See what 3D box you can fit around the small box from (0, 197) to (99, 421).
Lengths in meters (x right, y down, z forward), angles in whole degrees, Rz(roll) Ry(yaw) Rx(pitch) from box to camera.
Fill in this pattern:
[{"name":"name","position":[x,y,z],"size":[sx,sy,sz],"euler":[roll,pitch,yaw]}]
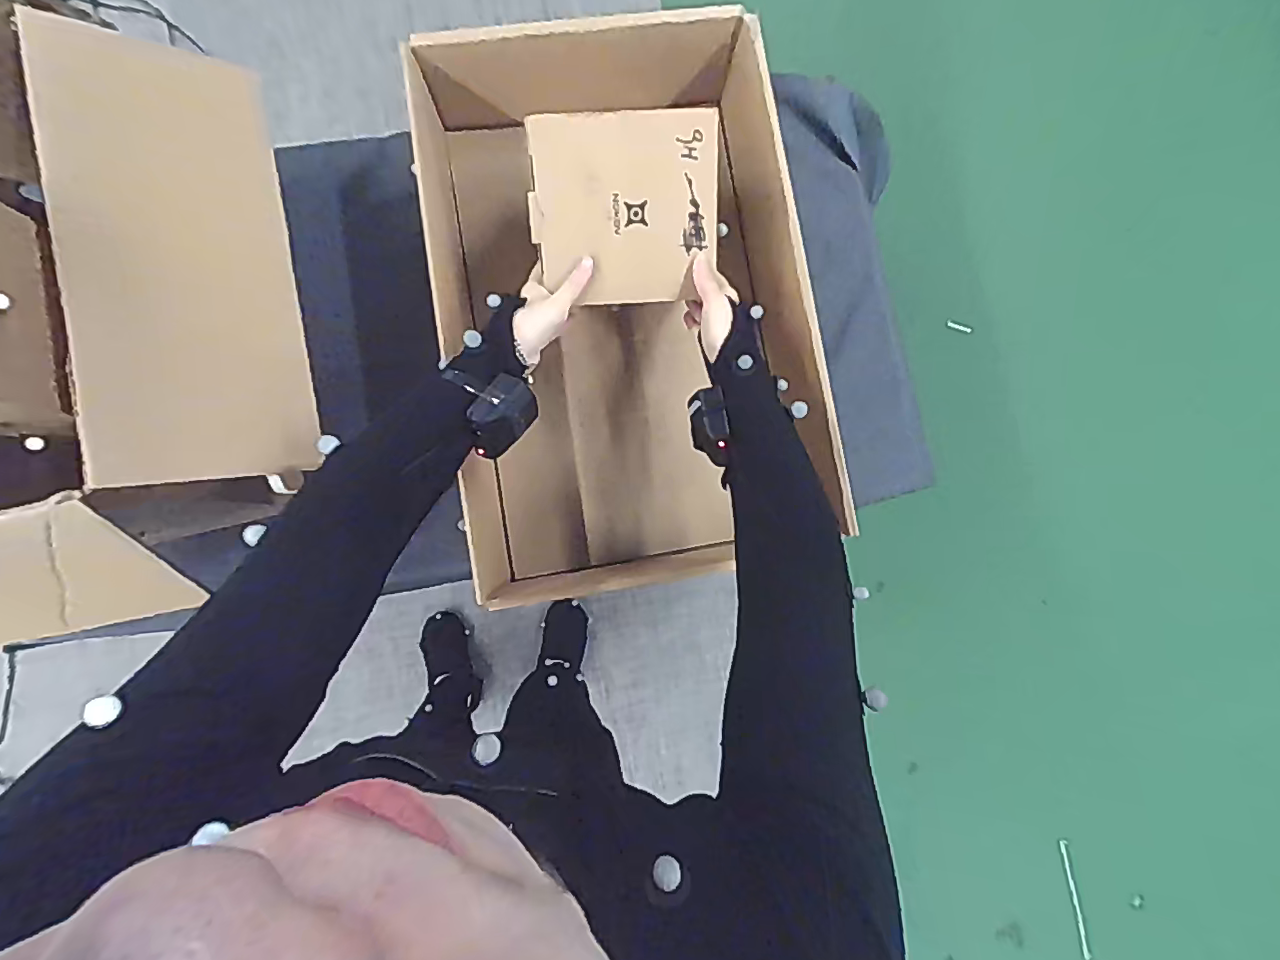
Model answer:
[{"name":"small box","position":[-0.600,-0.147,0.436],"size":[0.168,0.176,0.179],"euler":[-7,88,-6]}]

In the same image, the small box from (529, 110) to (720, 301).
[{"name":"small box","position":[-0.016,-0.288,0.592],"size":[0.179,0.176,0.168],"euler":[-3,113,-2]}]
